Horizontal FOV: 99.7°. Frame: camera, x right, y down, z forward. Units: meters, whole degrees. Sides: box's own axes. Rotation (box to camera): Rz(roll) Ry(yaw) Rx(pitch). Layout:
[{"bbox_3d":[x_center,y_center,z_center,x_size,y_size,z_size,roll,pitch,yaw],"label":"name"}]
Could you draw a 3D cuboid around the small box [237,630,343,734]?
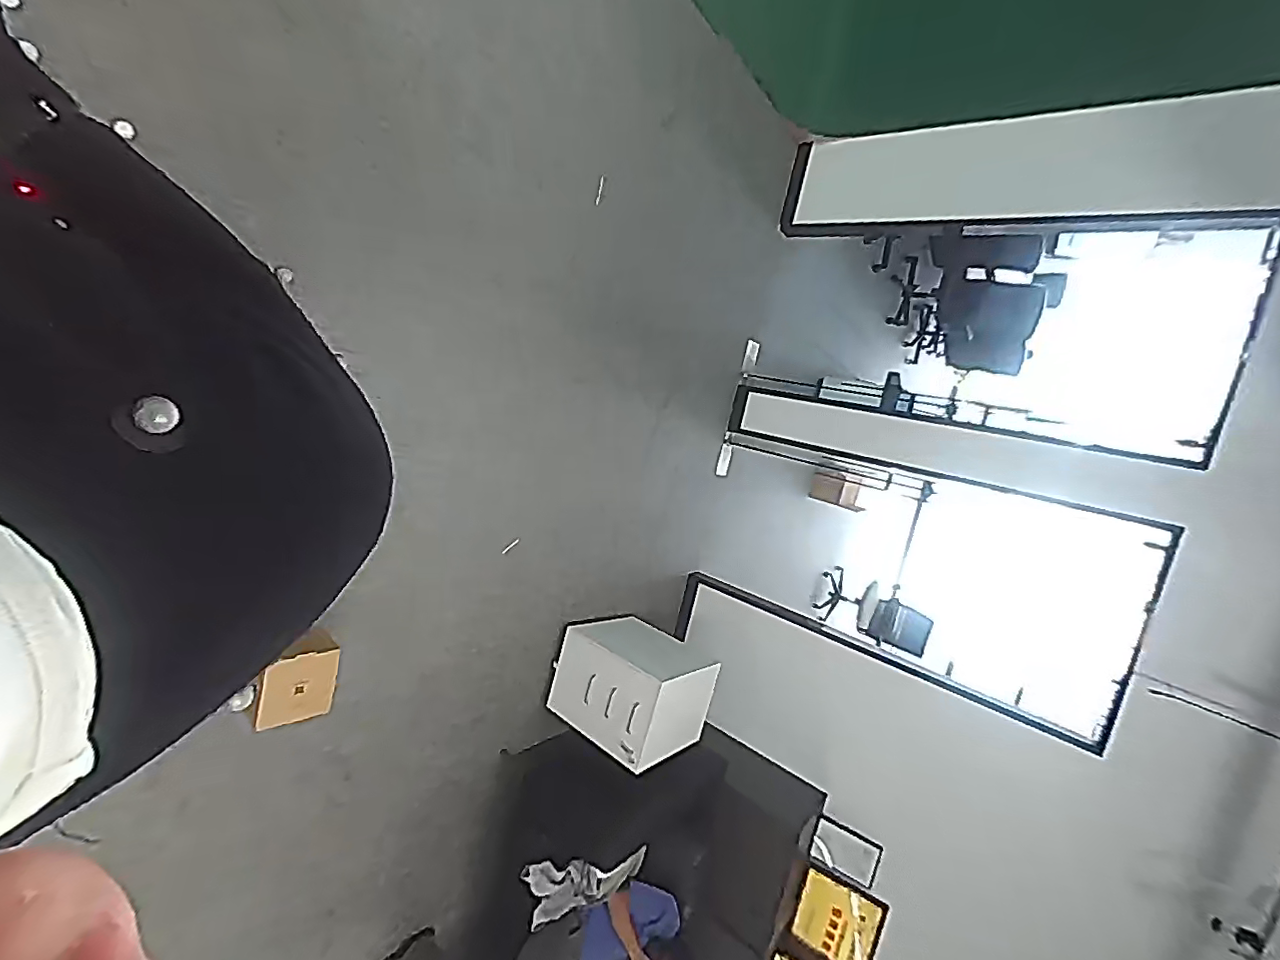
[{"bbox_3d":[-0.872,0.487,1.343,0.168,0.176,0.179,5,102,-53],"label":"small box"}]
